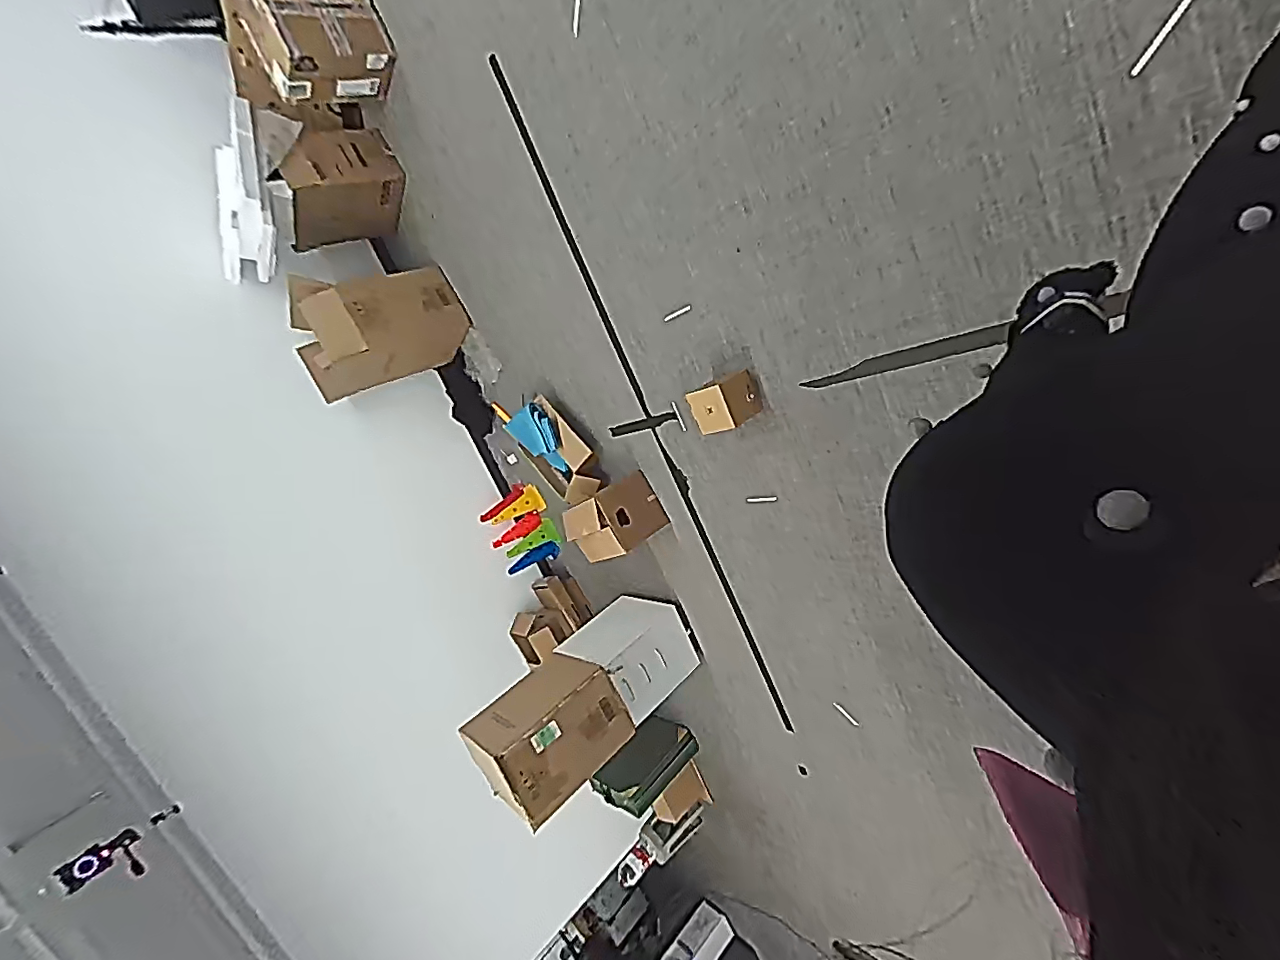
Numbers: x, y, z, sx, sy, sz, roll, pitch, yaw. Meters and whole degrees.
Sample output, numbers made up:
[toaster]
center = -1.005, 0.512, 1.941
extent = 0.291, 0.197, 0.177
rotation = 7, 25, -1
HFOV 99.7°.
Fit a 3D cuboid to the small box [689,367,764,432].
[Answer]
[small box]
center = 0.316, -0.290, 1.959
extent = 0.179, 0.176, 0.168
rotation = -9, 110, 54
